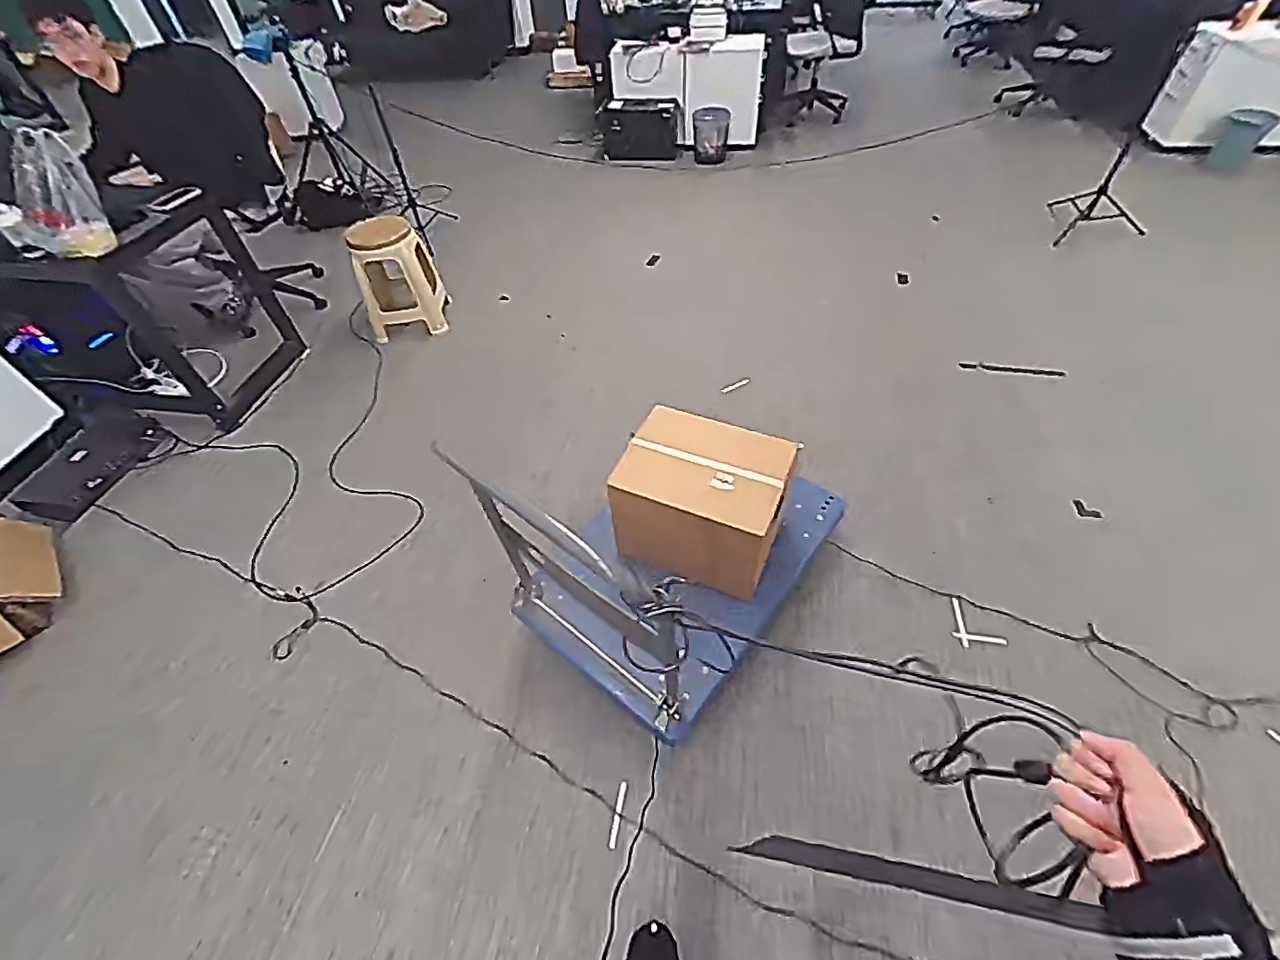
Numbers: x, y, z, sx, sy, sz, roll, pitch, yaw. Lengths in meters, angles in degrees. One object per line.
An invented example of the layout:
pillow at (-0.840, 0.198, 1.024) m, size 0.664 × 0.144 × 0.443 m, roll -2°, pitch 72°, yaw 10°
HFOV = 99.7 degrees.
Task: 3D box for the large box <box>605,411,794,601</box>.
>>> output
large box at (0.158, 0.066, 1.459) m, size 0.408 × 0.320 × 0.320 m, roll 18°, pitch 53°, yaw 18°
